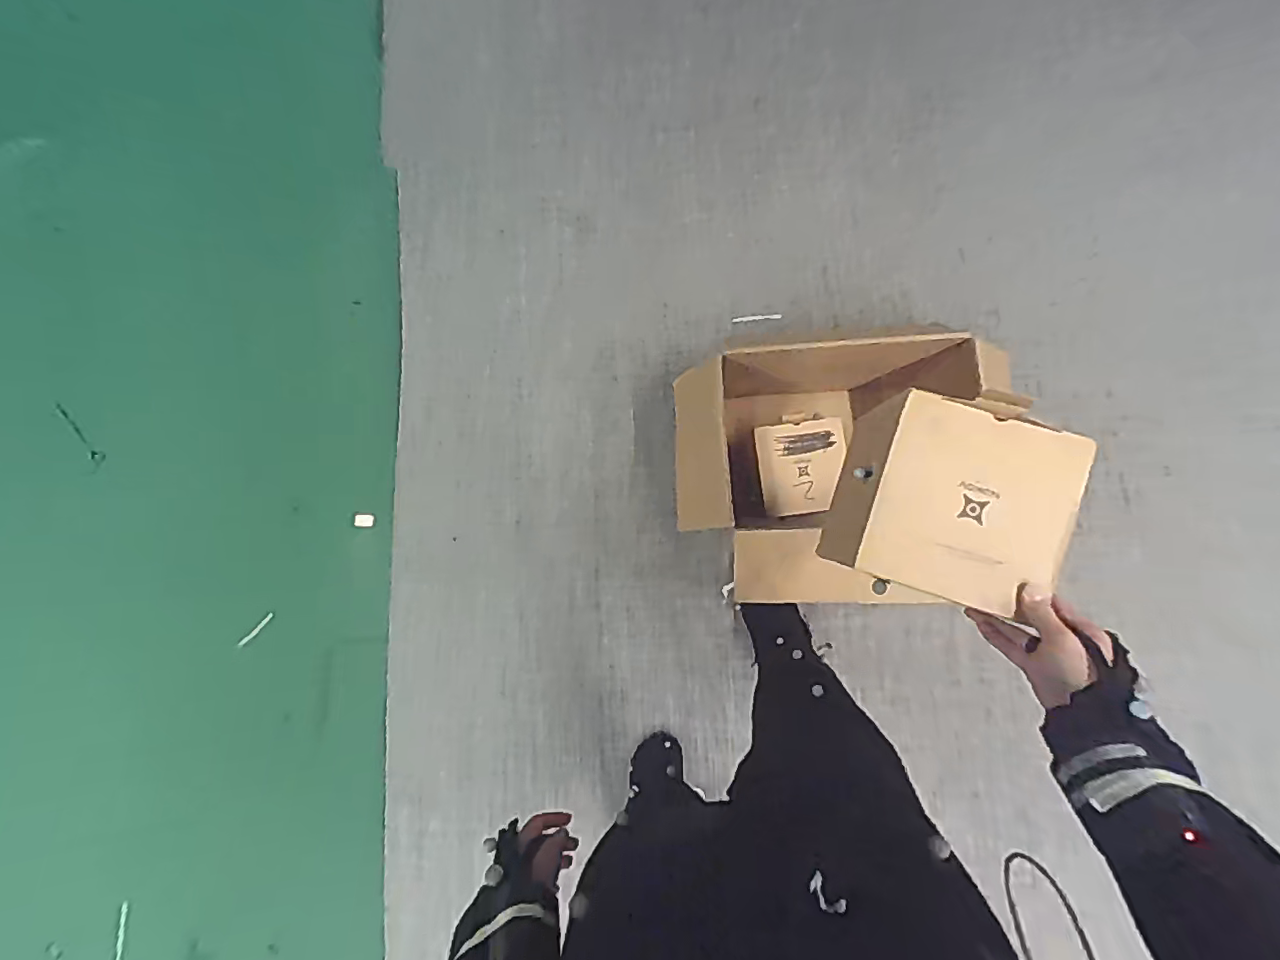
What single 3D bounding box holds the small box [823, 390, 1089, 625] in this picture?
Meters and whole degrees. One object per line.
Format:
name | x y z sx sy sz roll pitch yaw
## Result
small box | 0.306 0.028 0.565 0.168 0.176 0.179 17 88 8
